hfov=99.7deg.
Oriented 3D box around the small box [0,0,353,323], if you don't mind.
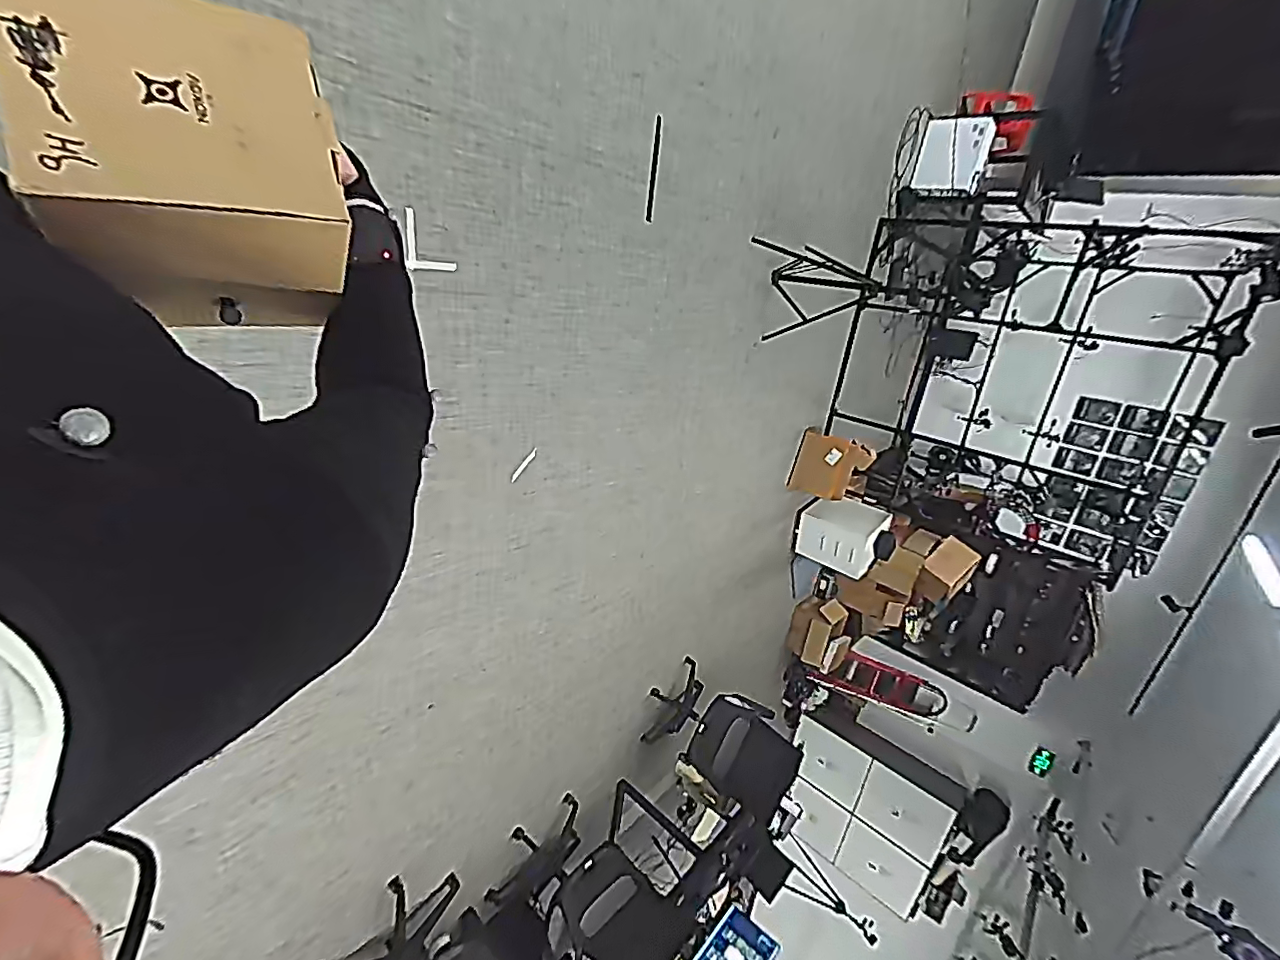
[{"bbox_3d":[-0.356,-0.242,0.443,0.179,0.176,0.168,-12,83,-34],"label":"small box"}]
